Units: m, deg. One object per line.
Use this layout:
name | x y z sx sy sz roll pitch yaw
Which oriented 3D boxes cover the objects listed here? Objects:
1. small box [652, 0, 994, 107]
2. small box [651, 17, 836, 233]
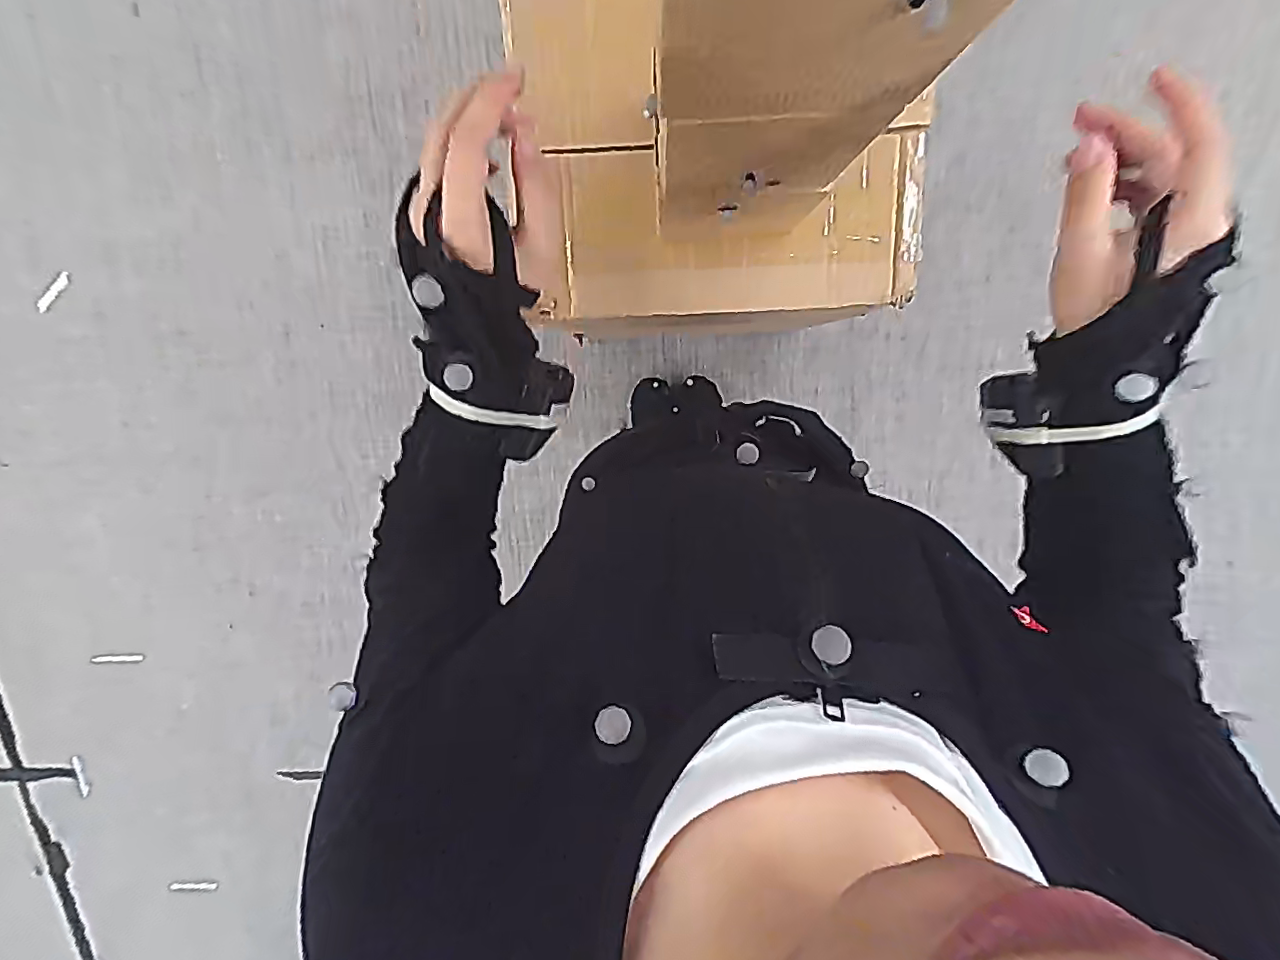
small box | 0.093 -0.318 0.273 0.179 0.176 0.168 -2 102 2
small box | 0.103 -0.379 0.596 0.179 0.176 0.168 -2 102 2
